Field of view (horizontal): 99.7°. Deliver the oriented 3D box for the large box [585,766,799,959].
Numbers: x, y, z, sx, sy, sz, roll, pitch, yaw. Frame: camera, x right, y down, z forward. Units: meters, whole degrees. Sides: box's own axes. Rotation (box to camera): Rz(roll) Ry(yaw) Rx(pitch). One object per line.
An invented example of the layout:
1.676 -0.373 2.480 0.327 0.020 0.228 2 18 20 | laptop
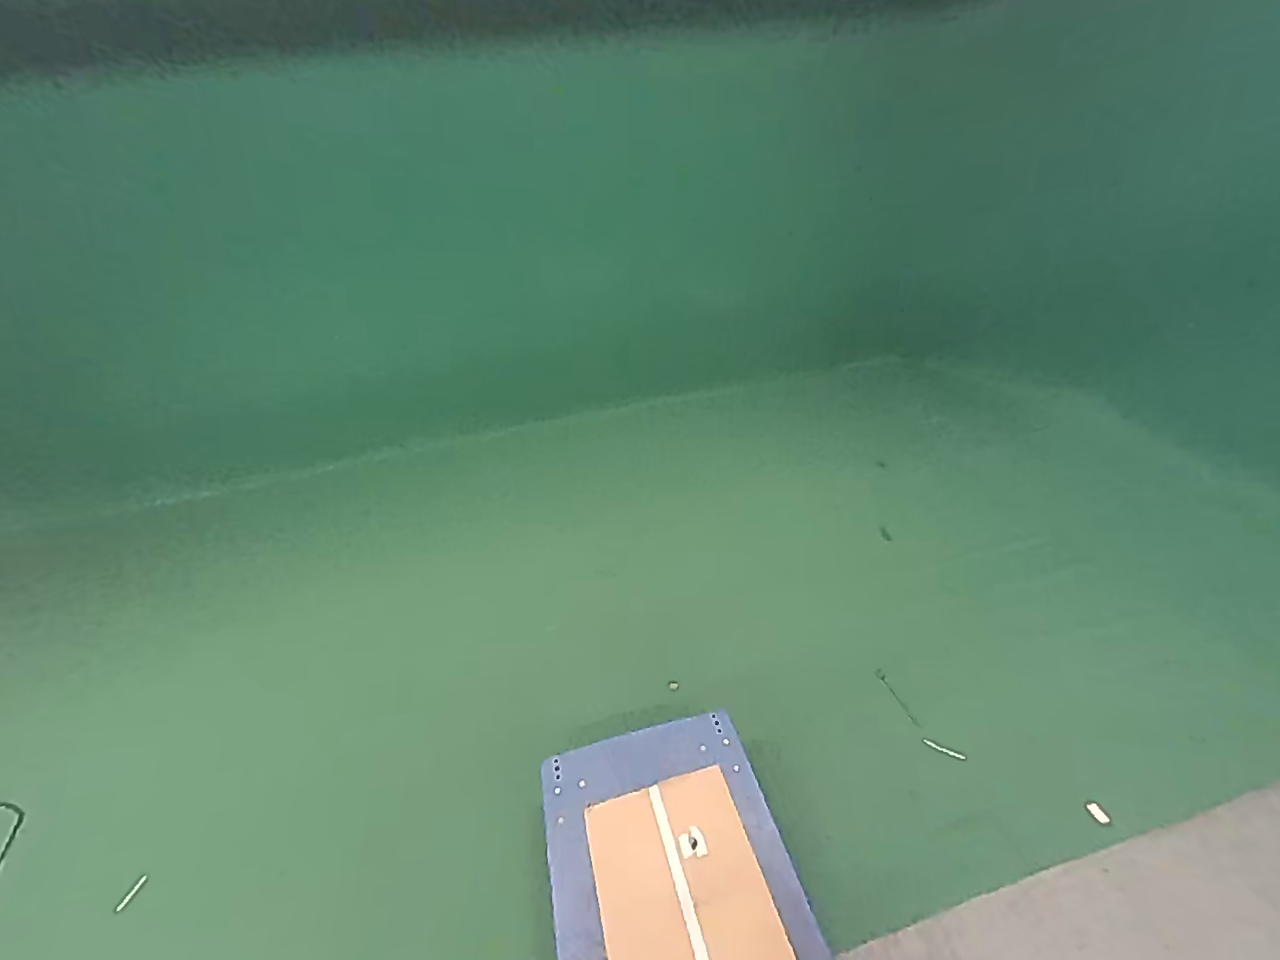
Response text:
0.098 0.901 1.109 0.320 0.320 0.408 -13 33 -10 | large box
